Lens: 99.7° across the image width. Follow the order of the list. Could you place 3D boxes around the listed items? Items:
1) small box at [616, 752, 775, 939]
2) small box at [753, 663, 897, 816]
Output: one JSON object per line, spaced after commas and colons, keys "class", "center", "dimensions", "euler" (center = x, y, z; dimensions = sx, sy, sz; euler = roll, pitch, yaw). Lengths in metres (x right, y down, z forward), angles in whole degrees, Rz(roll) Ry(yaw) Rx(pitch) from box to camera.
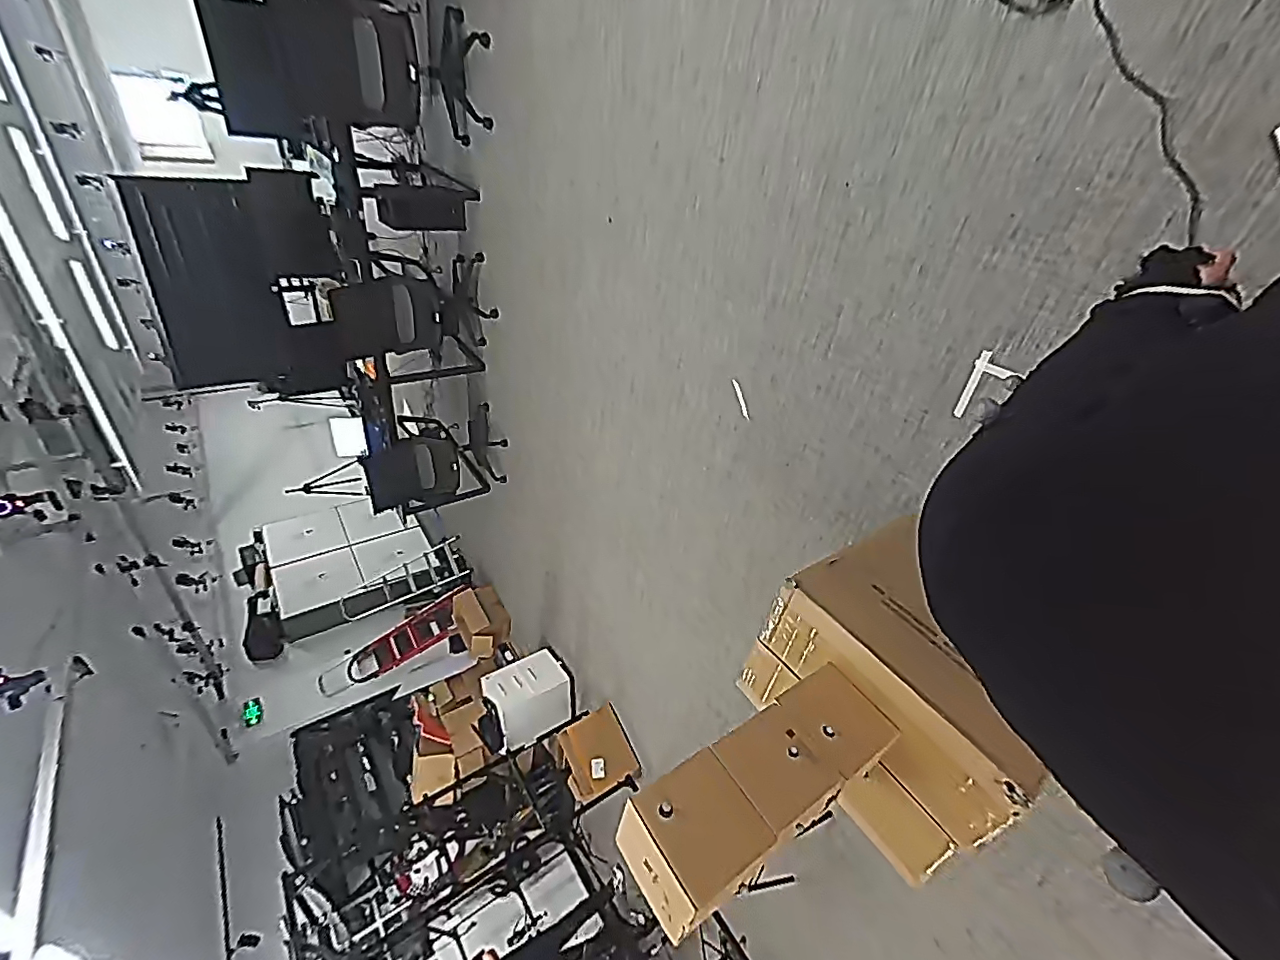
{"class": "small box", "center": [0.085, 0.577, 0.879], "dimensions": [0.179, 0.176, 0.168], "euler": [45, 138, 38]}
{"class": "small box", "center": [0.356, 0.492, 1.046], "dimensions": [0.179, 0.176, 0.168], "euler": [46, 139, 38]}
